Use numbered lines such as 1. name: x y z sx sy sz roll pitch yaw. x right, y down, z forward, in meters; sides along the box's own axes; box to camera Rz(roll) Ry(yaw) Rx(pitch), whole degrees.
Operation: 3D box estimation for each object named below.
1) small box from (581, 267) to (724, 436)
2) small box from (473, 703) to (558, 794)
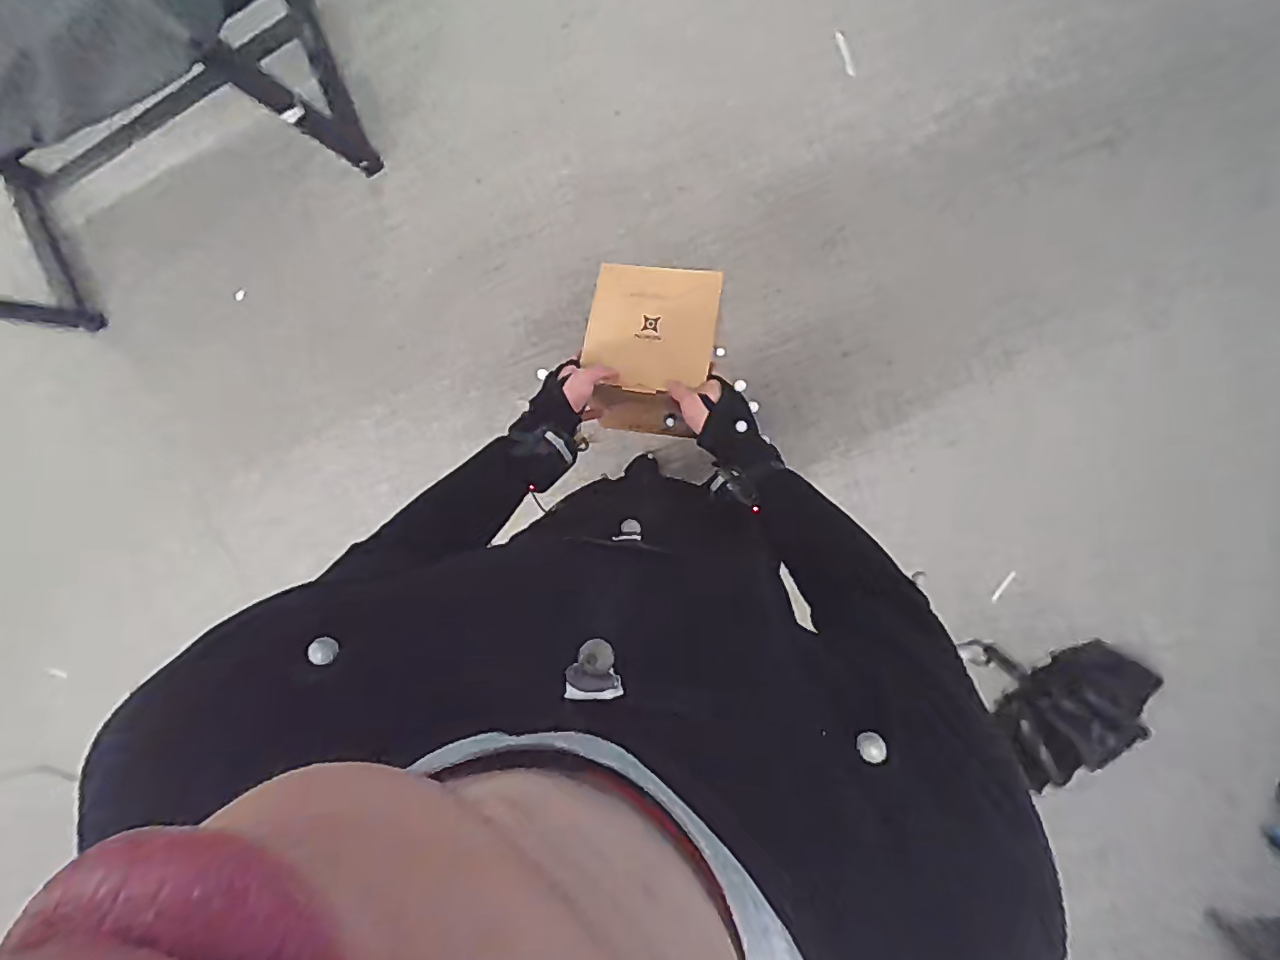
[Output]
1. small box: 0.028 -0.173 0.766 0.168 0.176 0.179 6 75 9
2. small box: -0.365 0.787 1.608 0.168 0.176 0.179 -19 91 11
